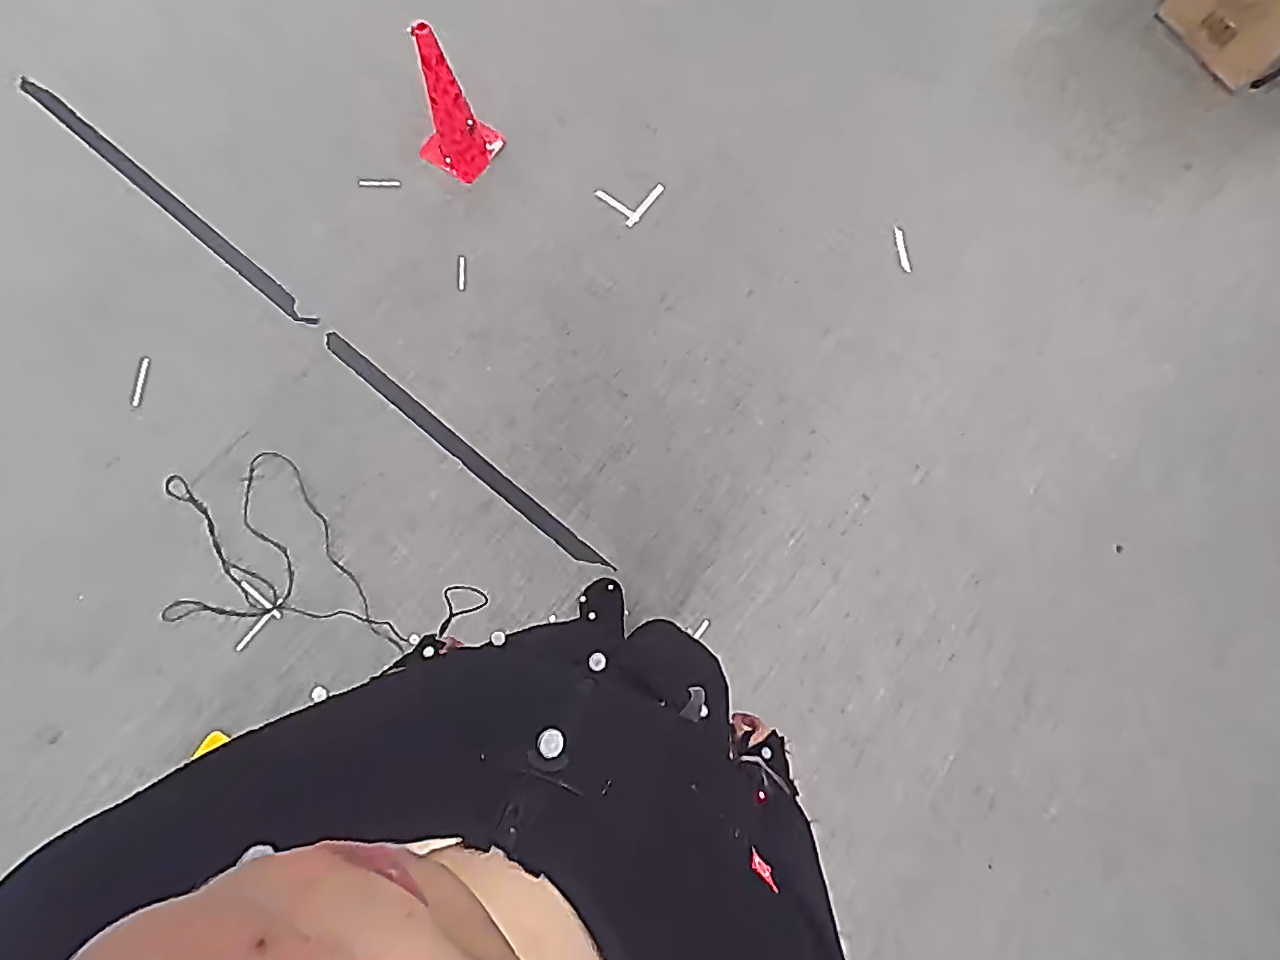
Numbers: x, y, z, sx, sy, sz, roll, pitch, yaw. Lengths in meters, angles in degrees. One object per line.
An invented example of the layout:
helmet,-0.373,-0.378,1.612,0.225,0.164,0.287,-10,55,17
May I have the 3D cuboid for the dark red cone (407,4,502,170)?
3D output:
dark red cone,-0.532,-1.062,1.450,0.202,0.394,0.201,31,80,5
